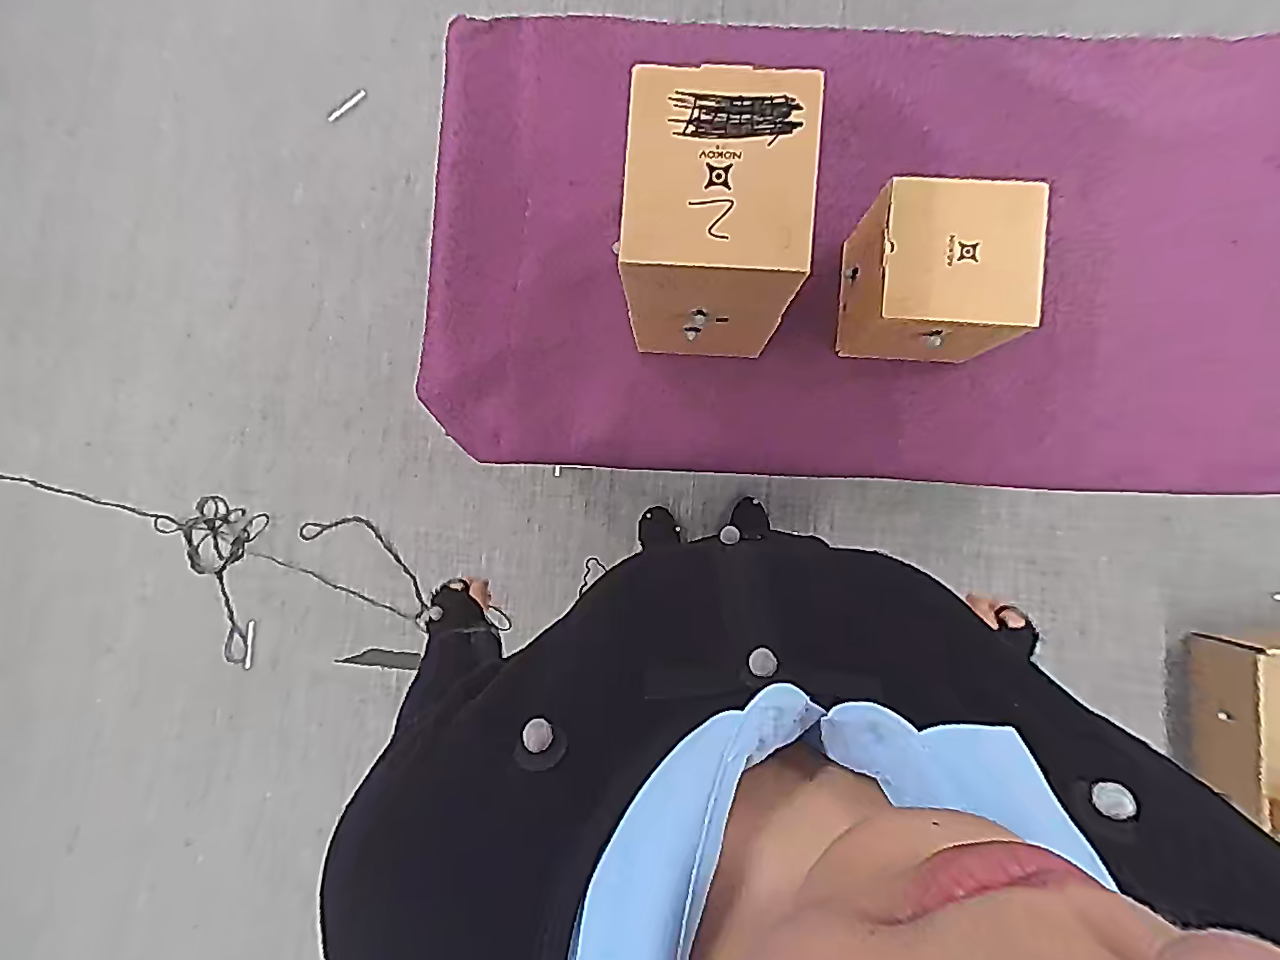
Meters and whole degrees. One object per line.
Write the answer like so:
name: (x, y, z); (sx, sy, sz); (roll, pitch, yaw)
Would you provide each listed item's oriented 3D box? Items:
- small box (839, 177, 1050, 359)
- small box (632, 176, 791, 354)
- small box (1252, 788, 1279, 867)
small box: (0.372, -0.257, 0.690); (0.179, 0.176, 0.168); (4, 89, 5)
small box: (0.088, -0.267, 0.707); (0.179, 0.176, 0.168); (4, 89, 3)
small box: (1.605, 0.848, 1.265); (0.179, 0.176, 0.168); (1, 89, 3)
